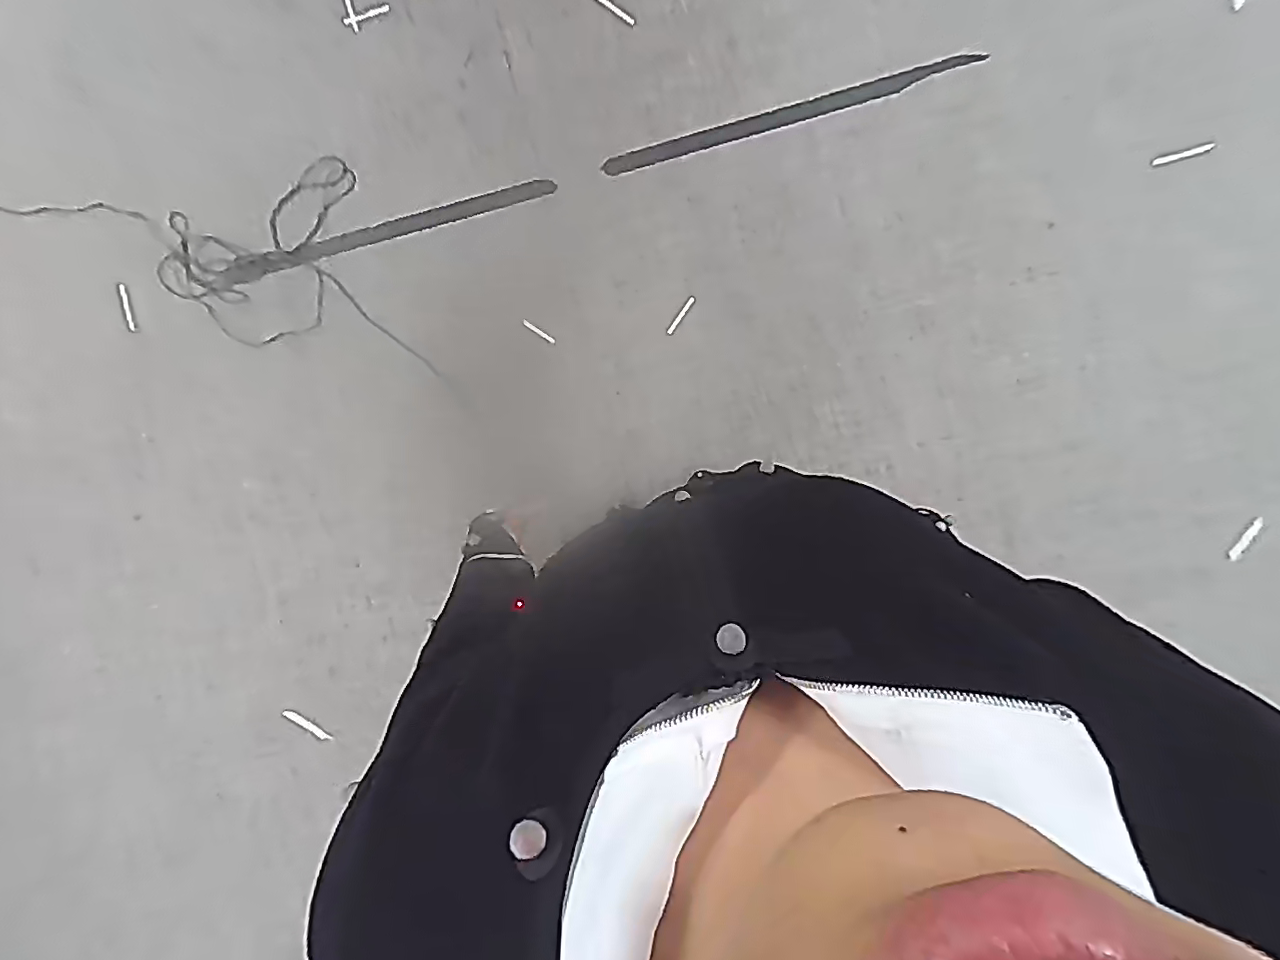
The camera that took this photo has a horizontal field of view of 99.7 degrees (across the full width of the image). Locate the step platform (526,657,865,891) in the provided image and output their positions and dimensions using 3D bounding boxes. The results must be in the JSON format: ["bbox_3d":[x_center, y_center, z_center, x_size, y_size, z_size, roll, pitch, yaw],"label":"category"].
[{"bbox_3d":[0.114,0.629,1.194,0.684,0.204,0.286,-17,91,4],"label":"step platform"}]

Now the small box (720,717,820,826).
[{"bbox_3d":[0.286,0.628,1.219,0.168,0.176,0.179,-17,90,3],"label":"small box"}]
